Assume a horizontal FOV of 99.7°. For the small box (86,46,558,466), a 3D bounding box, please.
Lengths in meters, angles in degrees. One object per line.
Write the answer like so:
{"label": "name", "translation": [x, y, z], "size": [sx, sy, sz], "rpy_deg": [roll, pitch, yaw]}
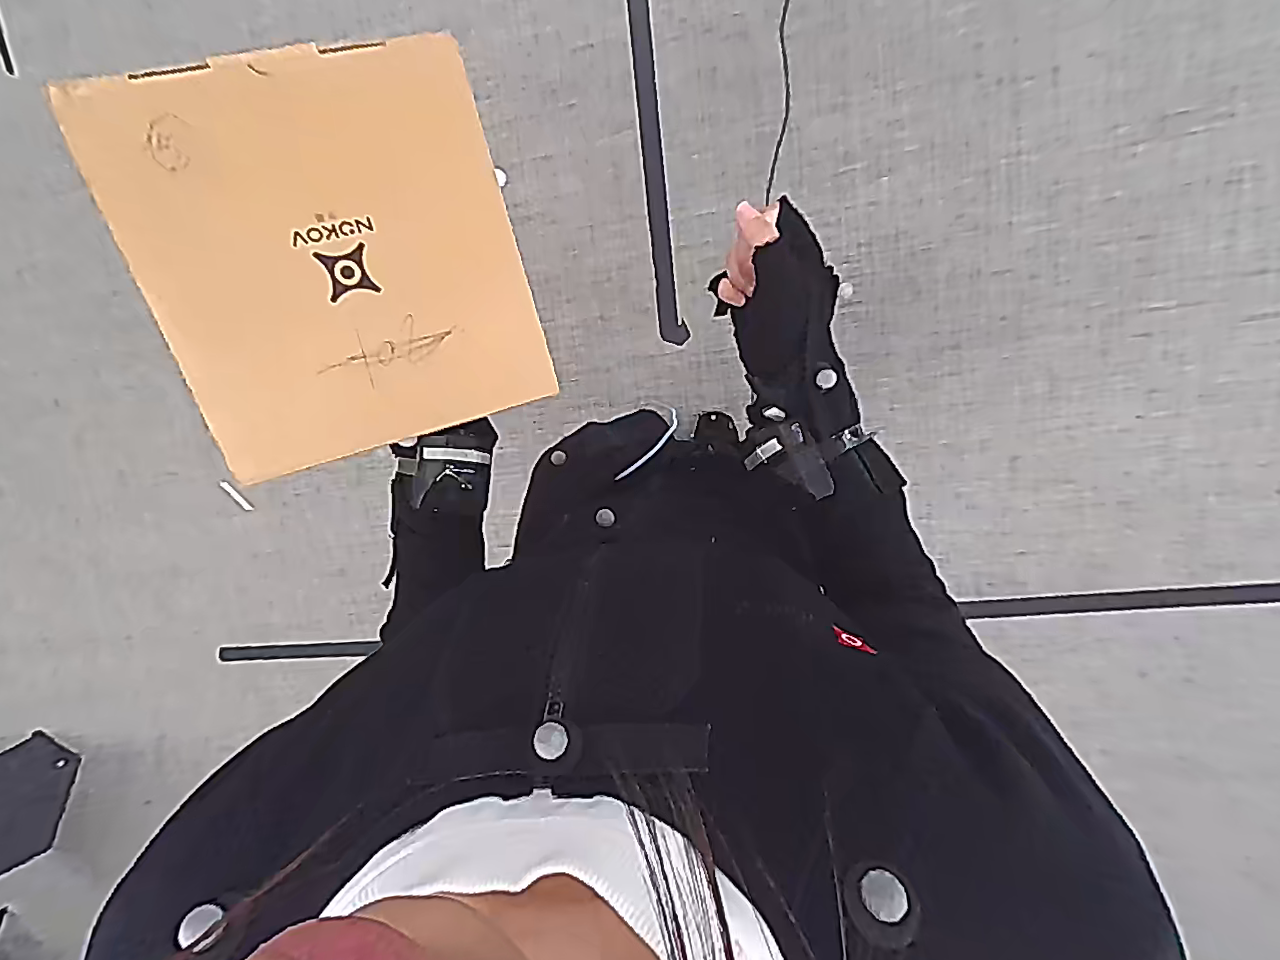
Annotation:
{"label": "small box", "translation": [-0.166, -0.125, 0.345], "size": [0.168, 0.176, 0.179], "rpy_deg": [-19, 107, -13]}
